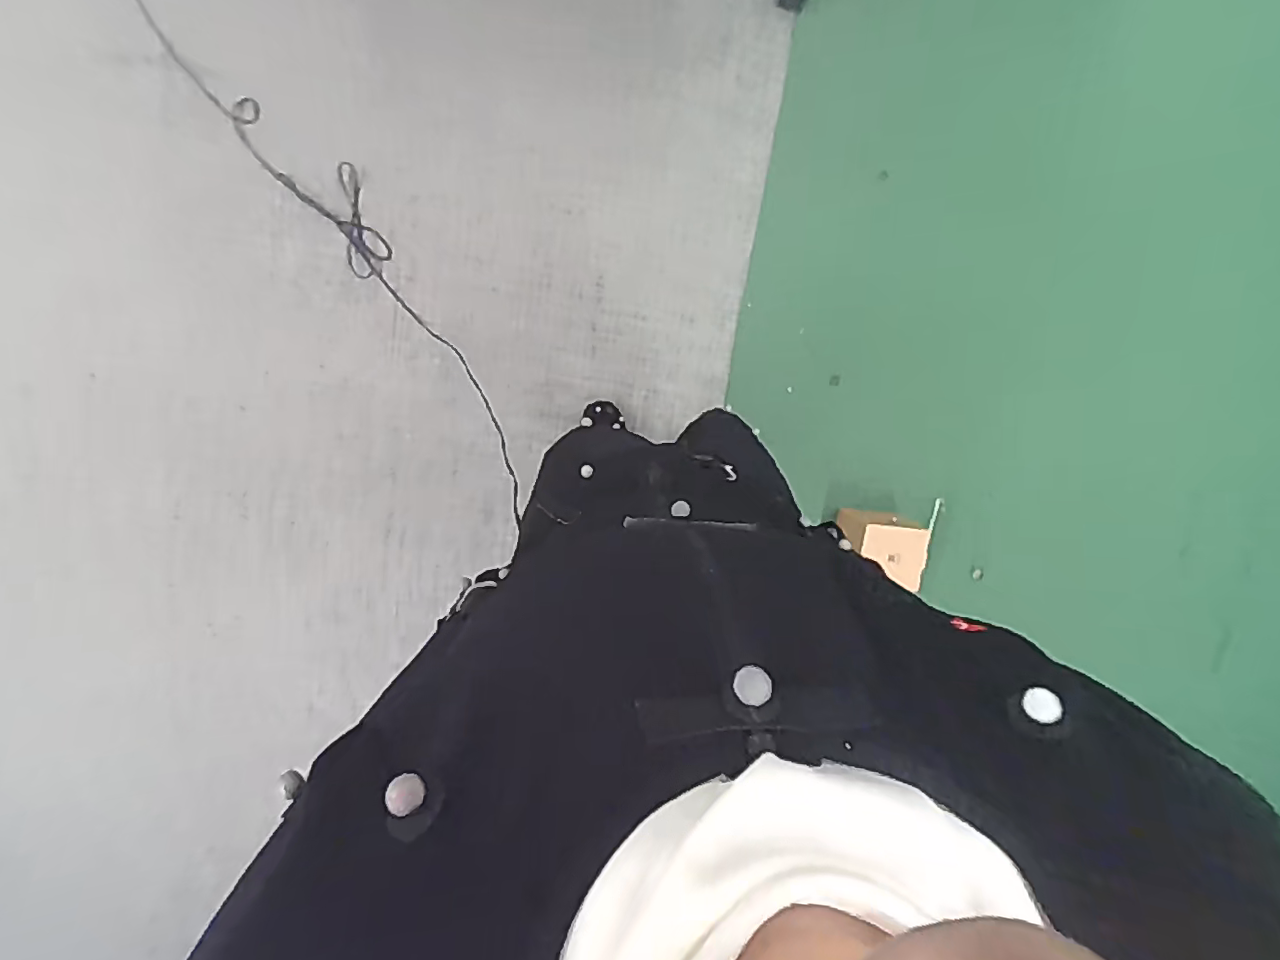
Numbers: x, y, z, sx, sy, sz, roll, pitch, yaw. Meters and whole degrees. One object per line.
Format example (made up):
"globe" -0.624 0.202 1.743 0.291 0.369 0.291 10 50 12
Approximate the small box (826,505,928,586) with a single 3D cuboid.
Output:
"small box" 0.625 0.170 1.445 0.179 0.176 0.168 6 101 -5
